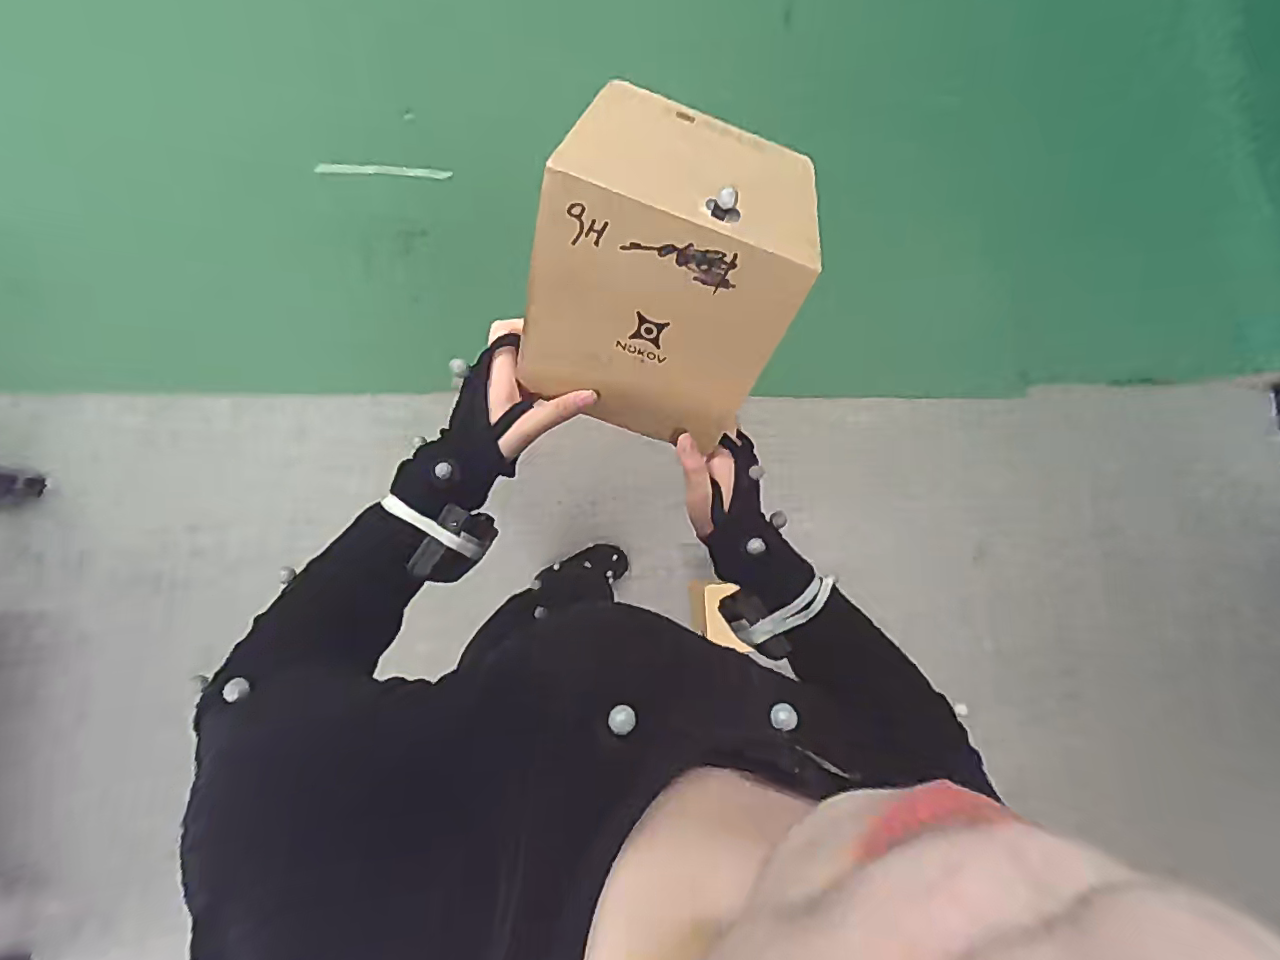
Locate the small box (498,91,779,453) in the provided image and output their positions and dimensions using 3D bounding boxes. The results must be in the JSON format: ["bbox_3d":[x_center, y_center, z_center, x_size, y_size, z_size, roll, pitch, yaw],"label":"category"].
[{"bbox_3d":[0.000,-0.156,0.423,0.168,0.179,0.176,17,52,-6],"label":"small box"}]

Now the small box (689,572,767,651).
[{"bbox_3d":[0.228,0.342,1.432,0.168,0.176,0.179,-2,84,-7],"label":"small box"}]
